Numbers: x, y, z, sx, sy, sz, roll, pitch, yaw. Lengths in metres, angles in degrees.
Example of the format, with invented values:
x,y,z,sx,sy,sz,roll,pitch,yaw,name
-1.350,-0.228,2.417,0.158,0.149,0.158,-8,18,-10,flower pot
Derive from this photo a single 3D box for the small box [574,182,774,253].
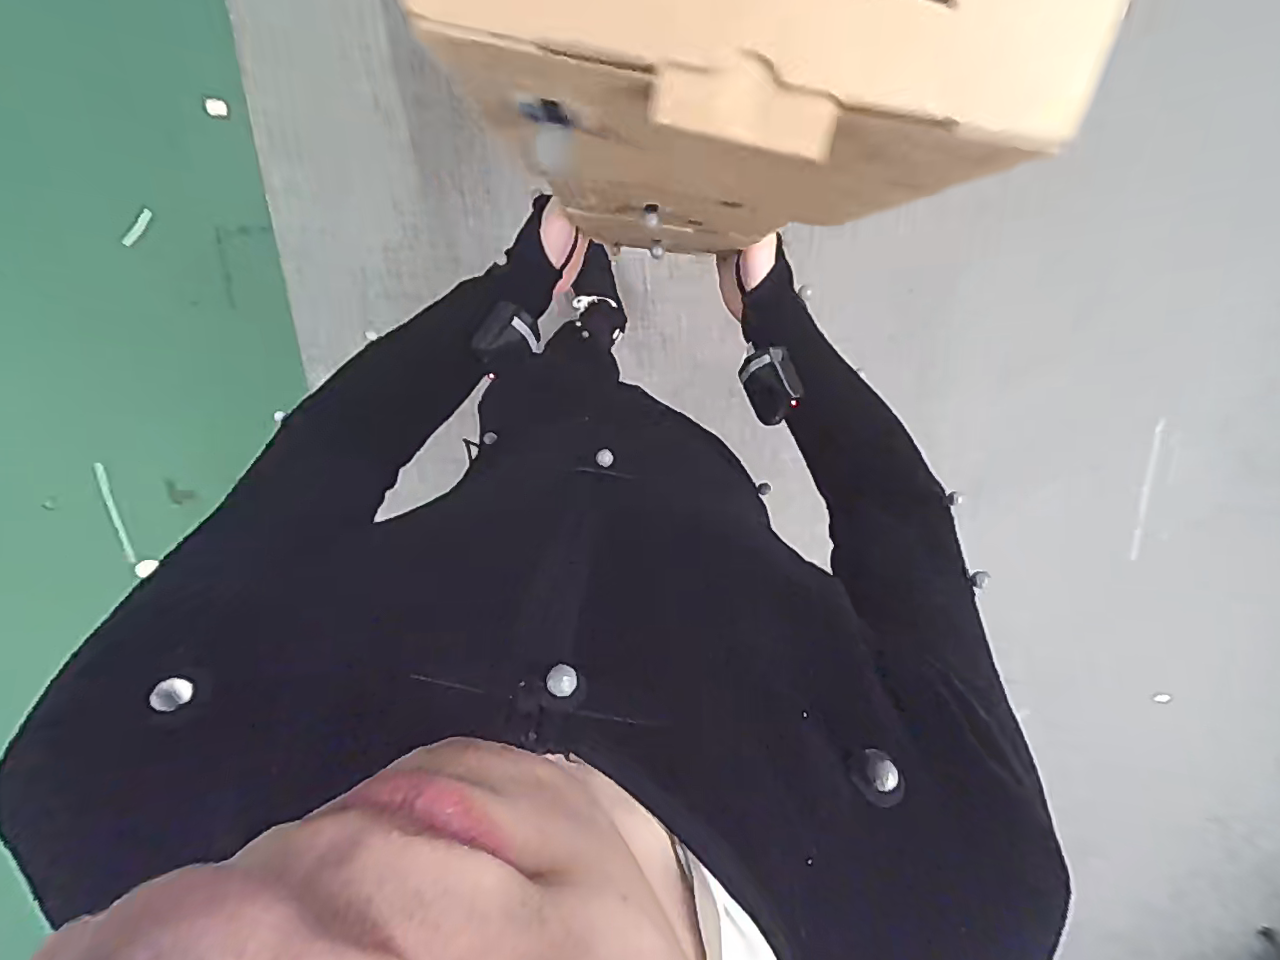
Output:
x,y,z,sx,sy,sz,roll,pitch,yaw,name
0.036,-0.314,0.484,0.168,0.176,0.179,7,108,-3,small box

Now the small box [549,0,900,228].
x,y,z,sx,sy,sz,roll,pitch,yaw,name
0.040,-0.266,0.329,0.168,0.176,0.179,6,109,-4,small box
